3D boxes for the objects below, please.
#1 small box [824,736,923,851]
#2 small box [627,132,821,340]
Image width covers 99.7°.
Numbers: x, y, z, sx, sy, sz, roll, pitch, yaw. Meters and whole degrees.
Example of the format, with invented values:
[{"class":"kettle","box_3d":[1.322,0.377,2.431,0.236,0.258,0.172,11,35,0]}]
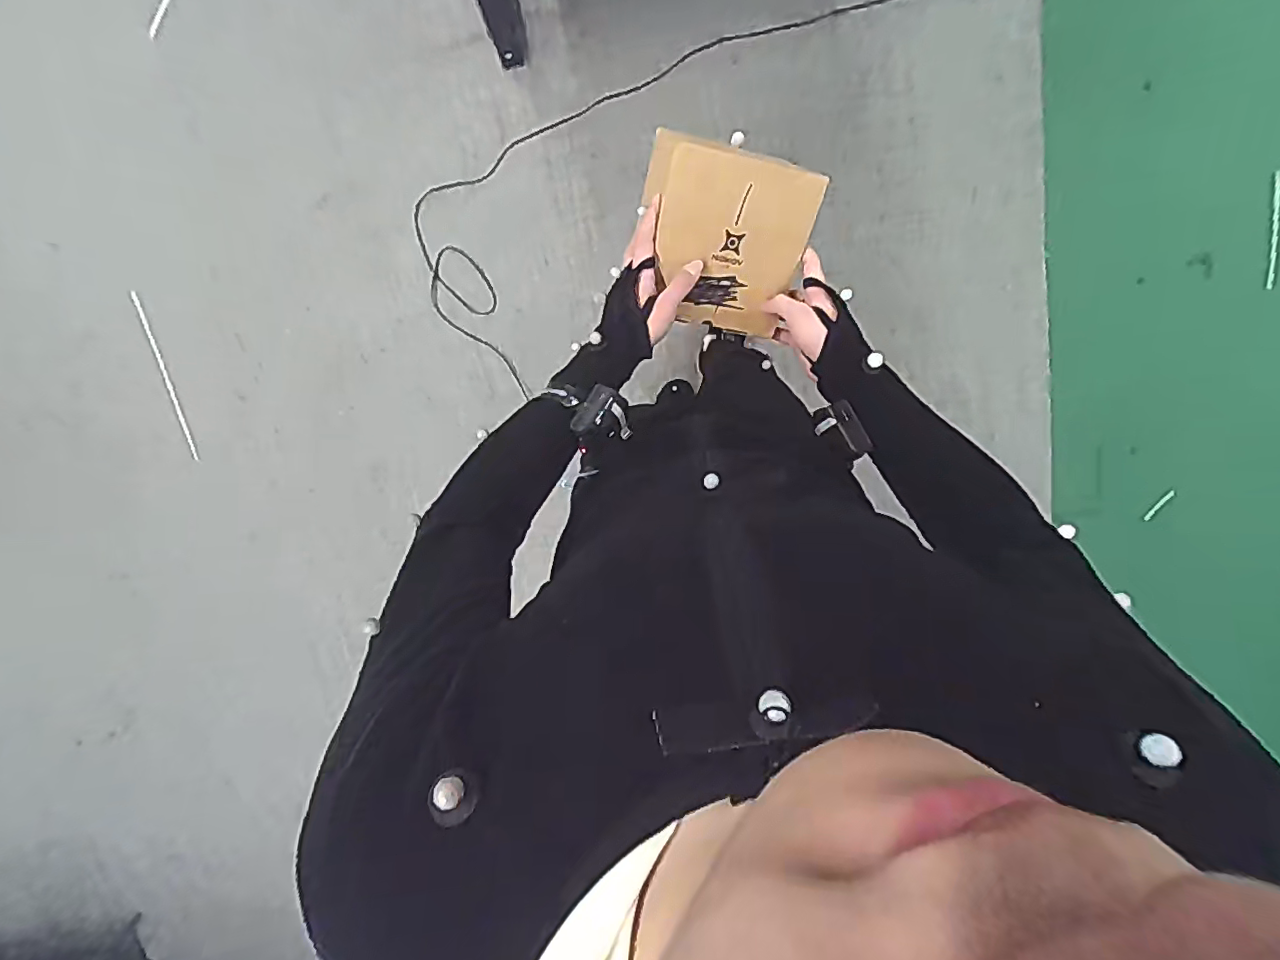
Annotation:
[{"class":"small box","box_3d":[0.546,0.732,1.283,0.168,0.176,0.179,-5,102,0]},{"class":"small box","box_3d":[0.081,-0.292,0.643,0.168,0.176,0.179,7,125,-12]}]
